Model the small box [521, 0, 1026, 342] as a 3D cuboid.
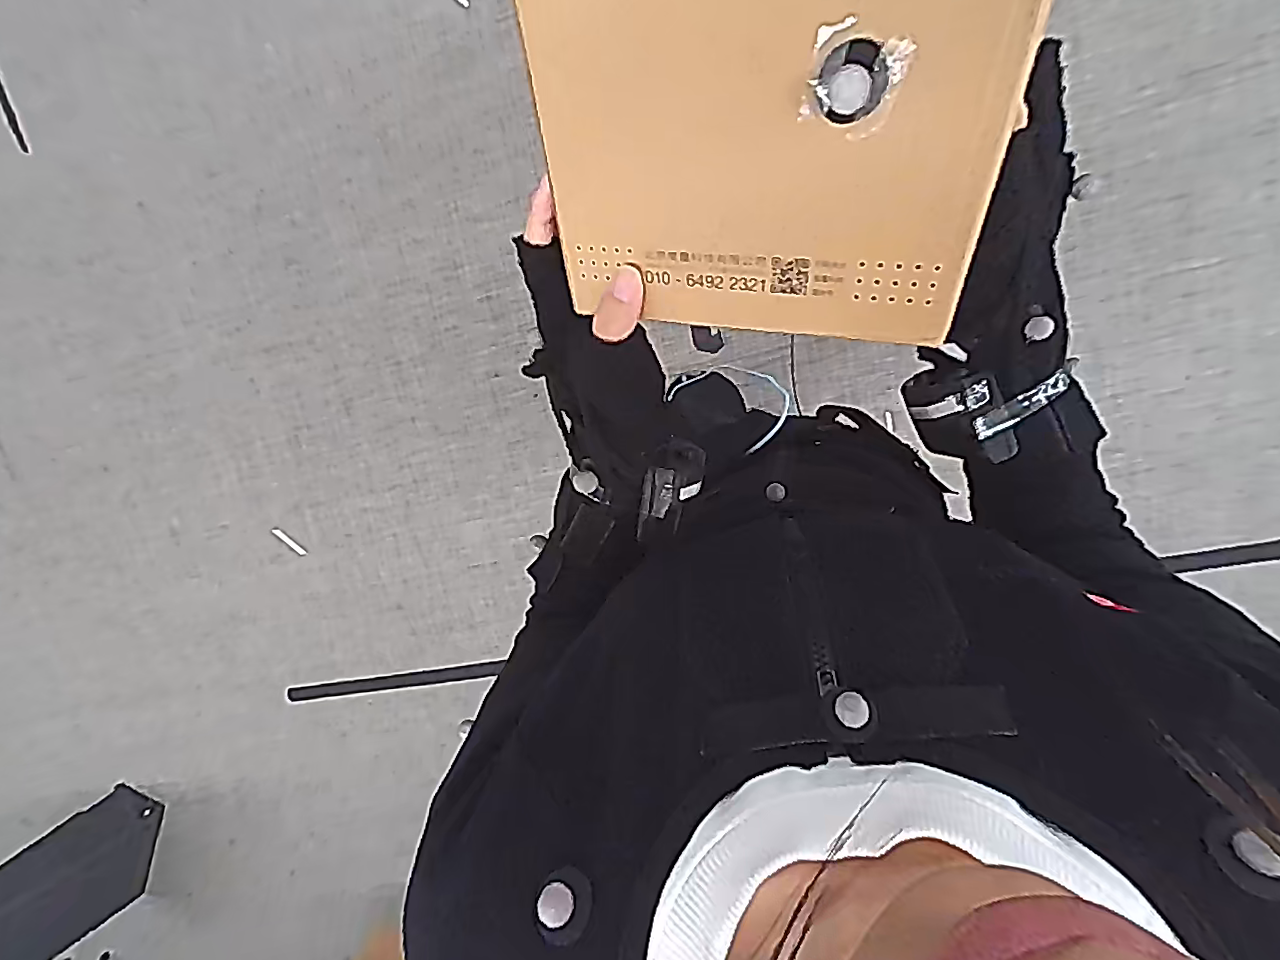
[{"bbox_3d":[0.069,-0.181,0.245,0.168,0.179,0.176,13,138,21],"label":"small box"}]
